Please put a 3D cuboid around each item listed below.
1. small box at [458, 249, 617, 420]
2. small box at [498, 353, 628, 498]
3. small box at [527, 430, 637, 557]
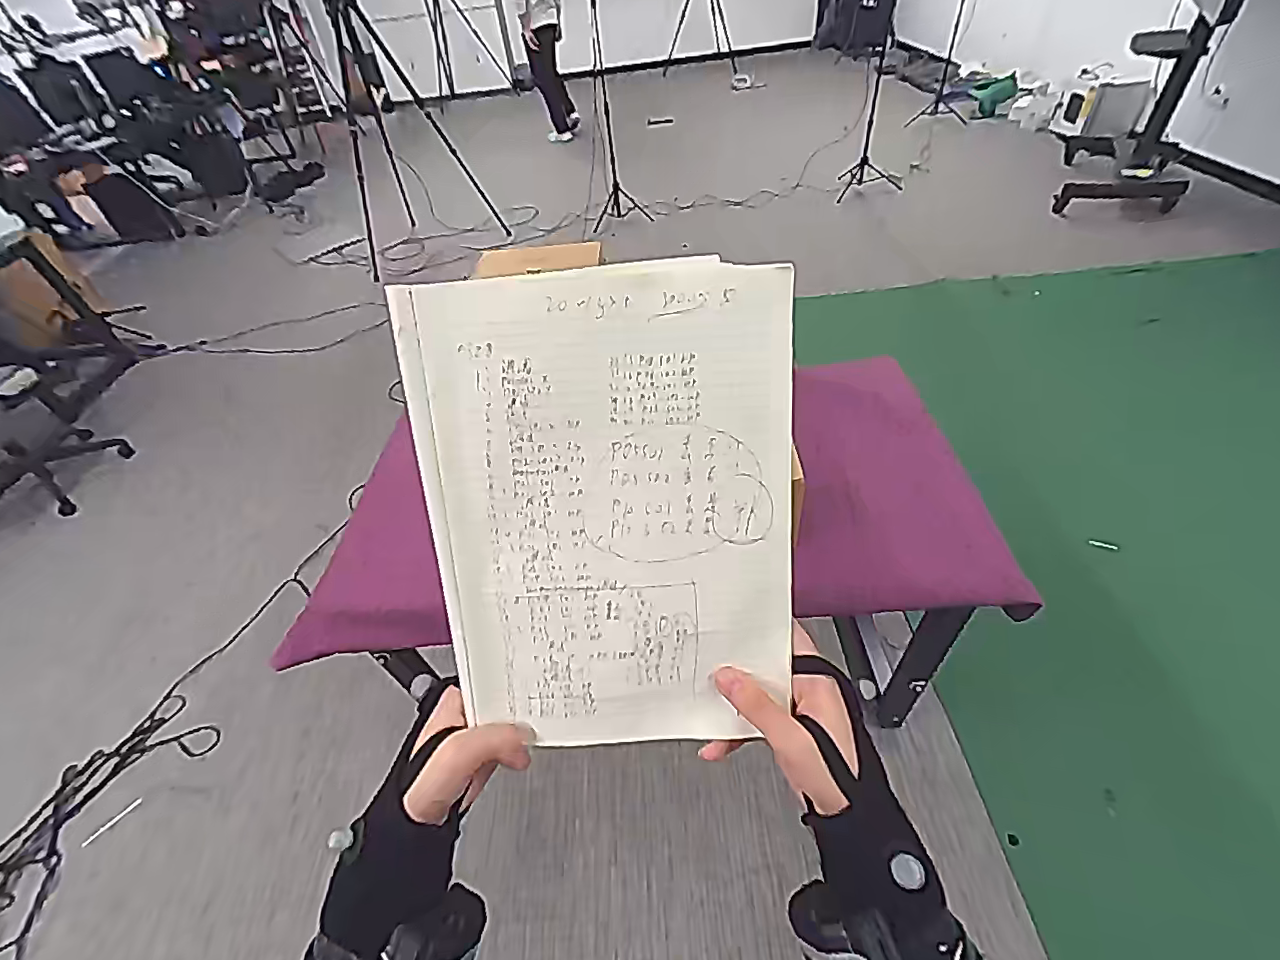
[{"bbox_3d":[-0.125,-0.194,0.744,0.168,0.176,0.179,-2,45,4],"label":"small box"},{"bbox_3d":[-0.109,-0.083,0.862,0.168,0.176,0.179,-4,44,4],"label":"small box"},{"bbox_3d":[-0.094,0.029,0.983,0.168,0.176,0.179,-3,46,4],"label":"small box"}]
